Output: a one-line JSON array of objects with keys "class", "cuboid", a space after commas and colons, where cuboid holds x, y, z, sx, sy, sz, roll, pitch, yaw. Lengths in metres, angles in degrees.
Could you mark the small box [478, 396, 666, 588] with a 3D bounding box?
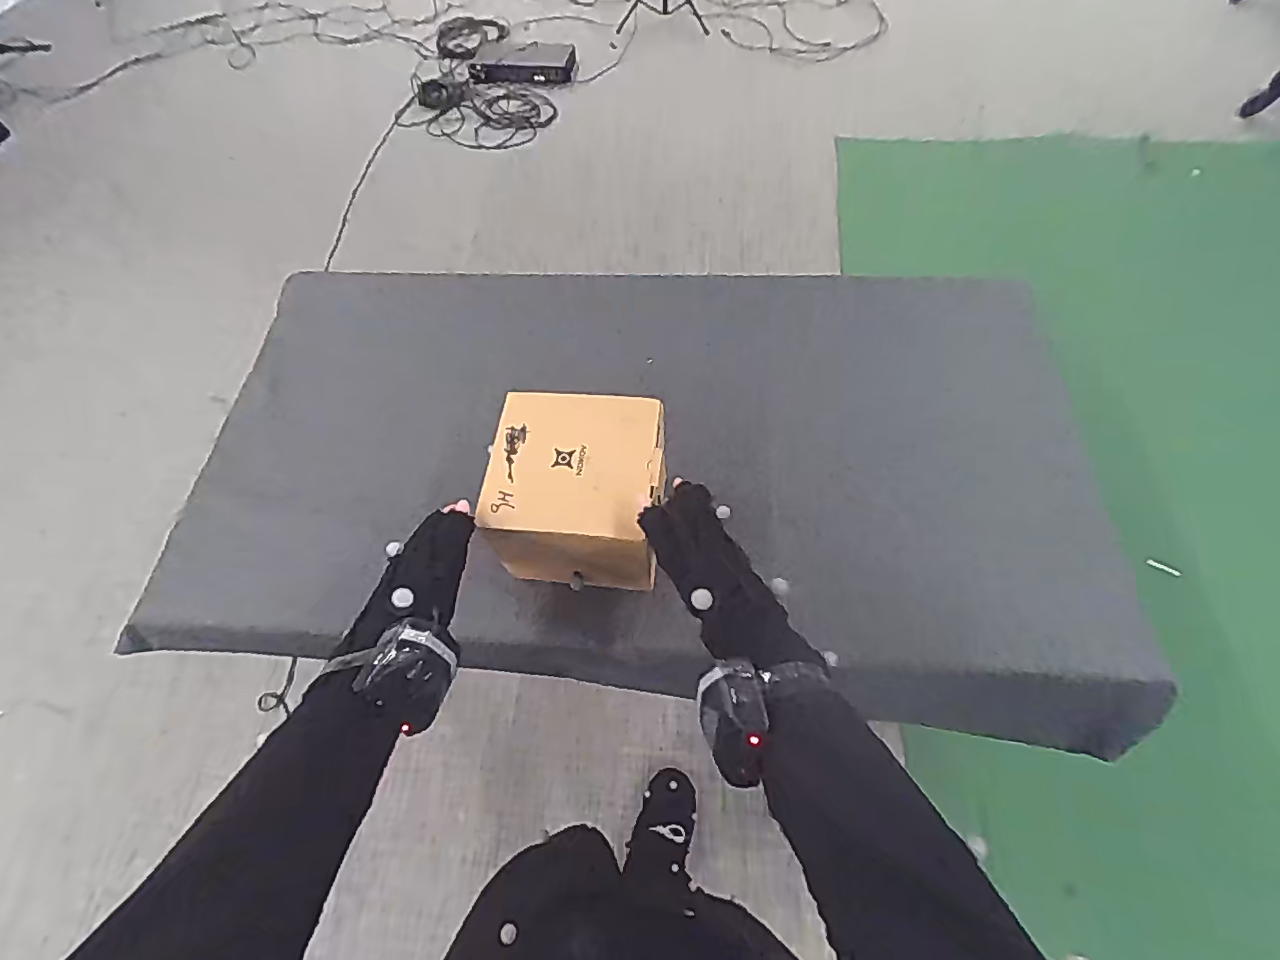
[{"class": "small box", "cuboid": [-0.064, 0.021, 0.637, 0.179, 0.176, 0.168, 4, 62, 5]}]
